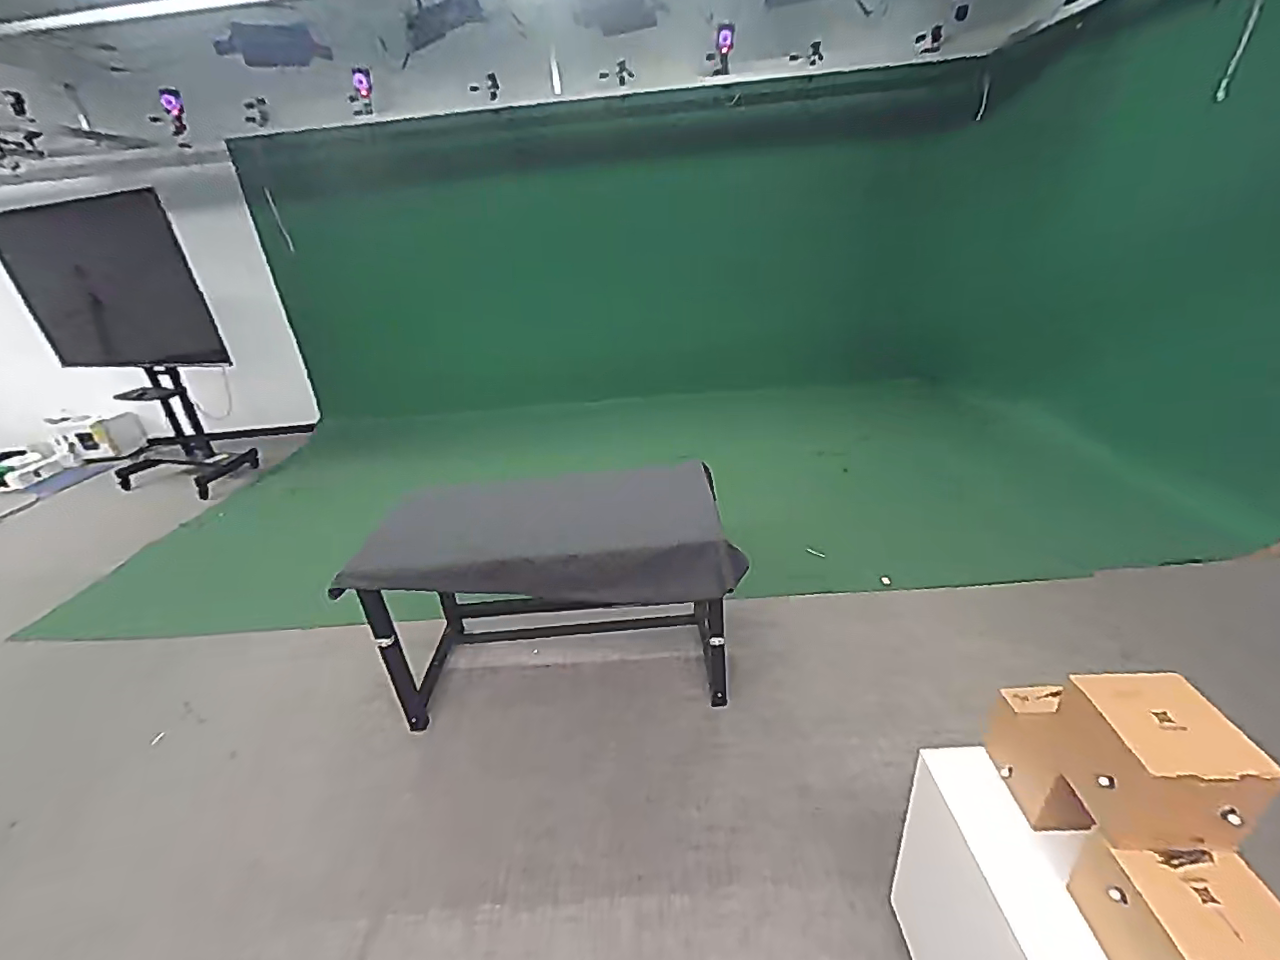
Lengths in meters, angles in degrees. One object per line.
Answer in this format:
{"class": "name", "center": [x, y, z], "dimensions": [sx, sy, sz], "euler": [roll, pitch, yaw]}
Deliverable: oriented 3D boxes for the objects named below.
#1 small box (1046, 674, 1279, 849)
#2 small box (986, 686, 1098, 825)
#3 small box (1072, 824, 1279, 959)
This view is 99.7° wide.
{"class": "small box", "center": [0.757, 0.417, 0.806], "dimensions": [0.168, 0.176, 0.179], "euler": [-2, 25, 5]}
{"class": "small box", "center": [0.774, 0.505, 0.990], "dimensions": [0.168, 0.176, 0.179], "euler": [-4, 28, 3]}
{"class": "small box", "center": [0.759, 0.621, 0.758], "dimensions": [0.168, 0.176, 0.179], "euler": [-3, 27, 6]}
